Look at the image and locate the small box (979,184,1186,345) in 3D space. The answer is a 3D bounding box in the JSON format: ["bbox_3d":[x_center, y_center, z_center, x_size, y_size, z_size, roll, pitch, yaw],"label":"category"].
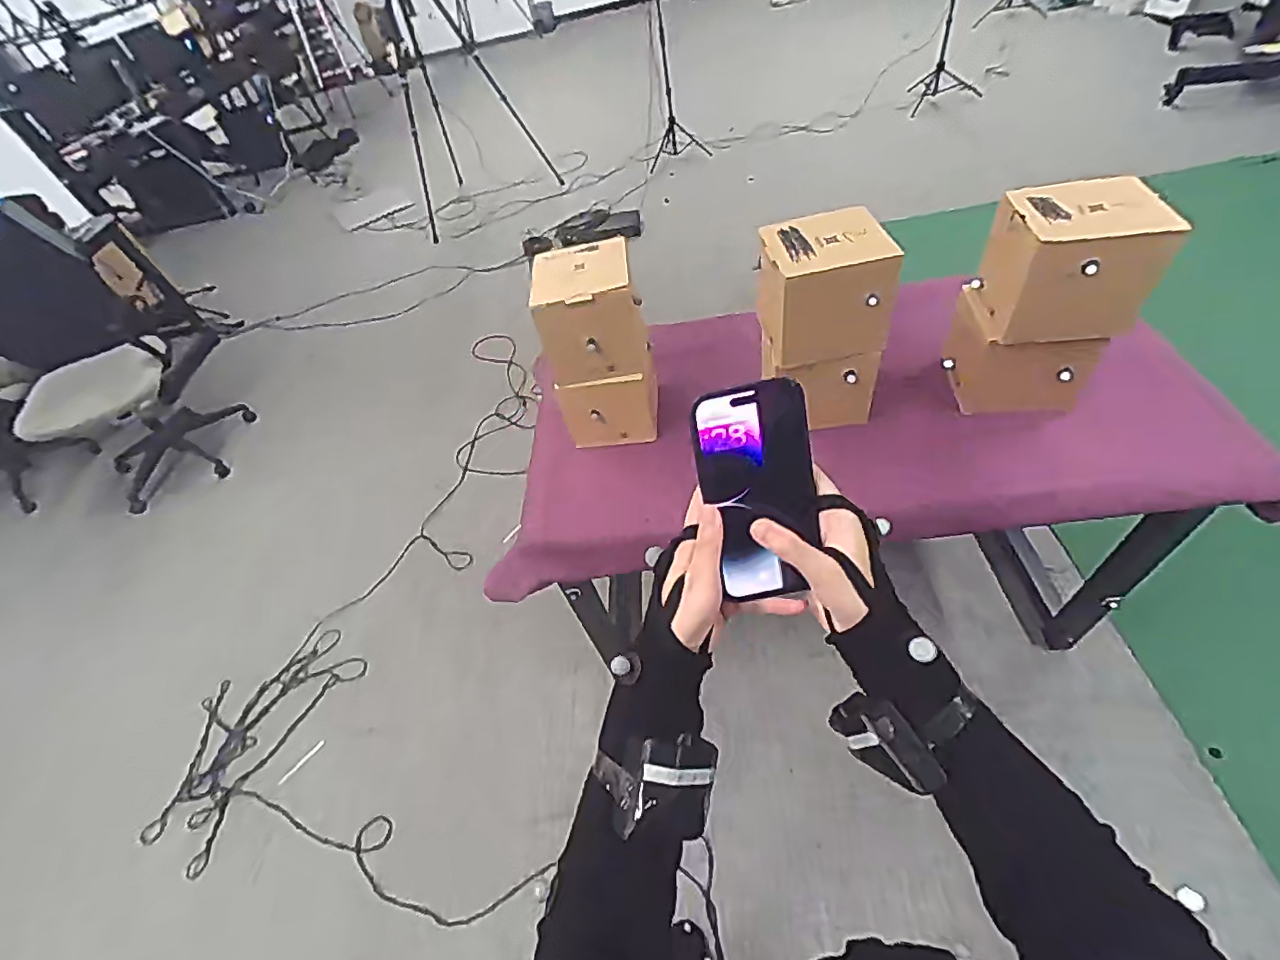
[{"bbox_3d":[0.640,-0.319,0.818,0.179,0.176,0.168,0,50,12],"label":"small box"}]

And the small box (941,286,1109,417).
[{"bbox_3d":[0.659,-0.226,0.952,0.179,0.176,0.168,0,50,13],"label":"small box"}]

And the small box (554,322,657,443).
[{"bbox_3d":[-0.059,-0.188,1.082,0.168,0.176,0.179,-5,50,9],"label":"small box"}]

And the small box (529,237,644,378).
[{"bbox_3d":[-0.087,-0.298,0.963,0.168,0.176,0.179,-8,50,5],"label":"small box"}]

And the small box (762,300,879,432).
[{"bbox_3d":[0.324,-0.207,1.010,0.179,0.176,0.168,-5,50,9],"label":"small box"}]
